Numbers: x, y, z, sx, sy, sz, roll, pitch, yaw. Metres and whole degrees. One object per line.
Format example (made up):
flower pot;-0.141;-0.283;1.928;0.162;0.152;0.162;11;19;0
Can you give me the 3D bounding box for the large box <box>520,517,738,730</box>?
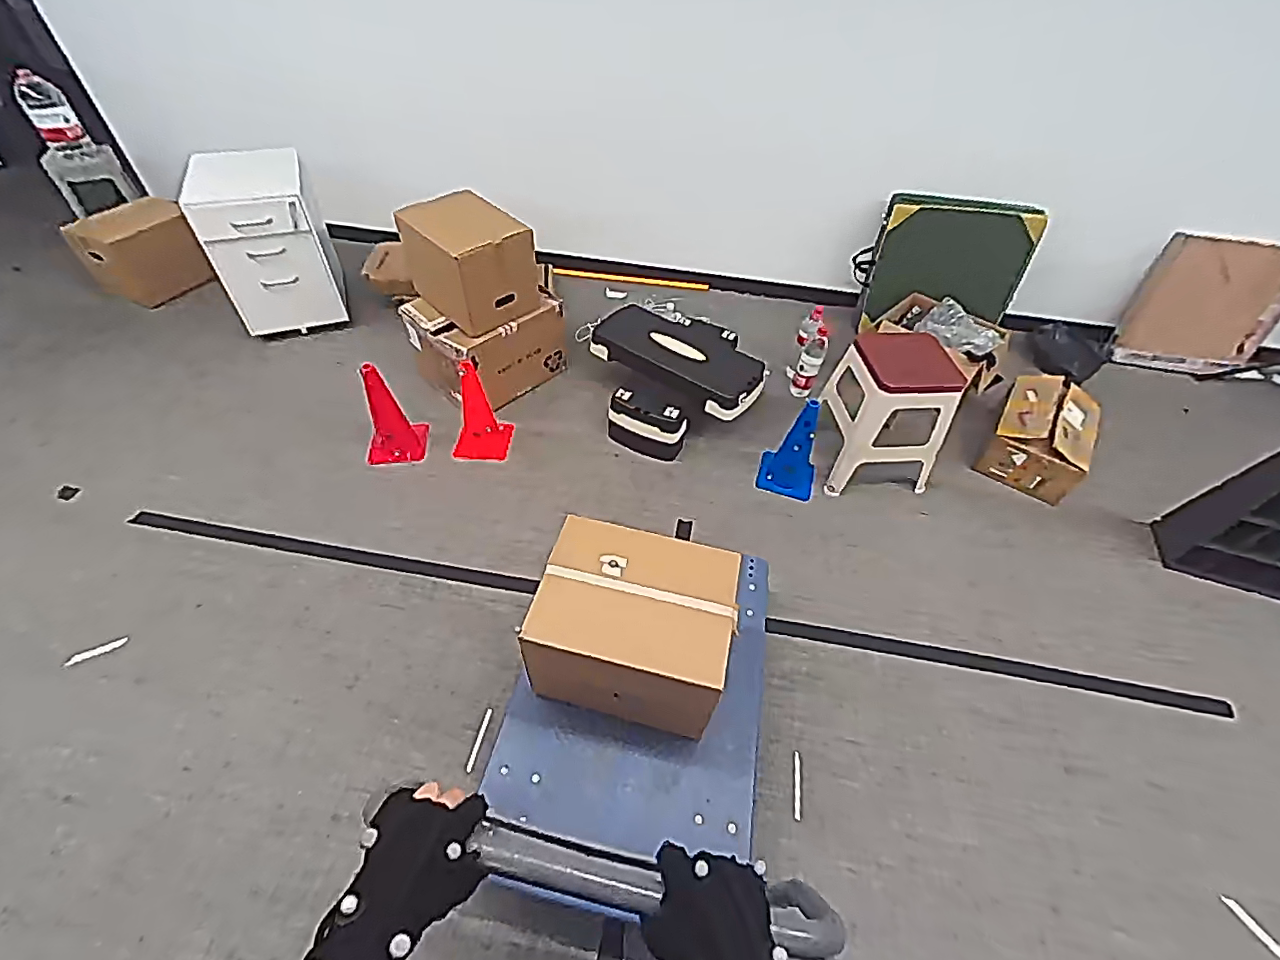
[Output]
large box;-0.013;0.331;1.237;0.408;0.320;0.320;12;49;7
